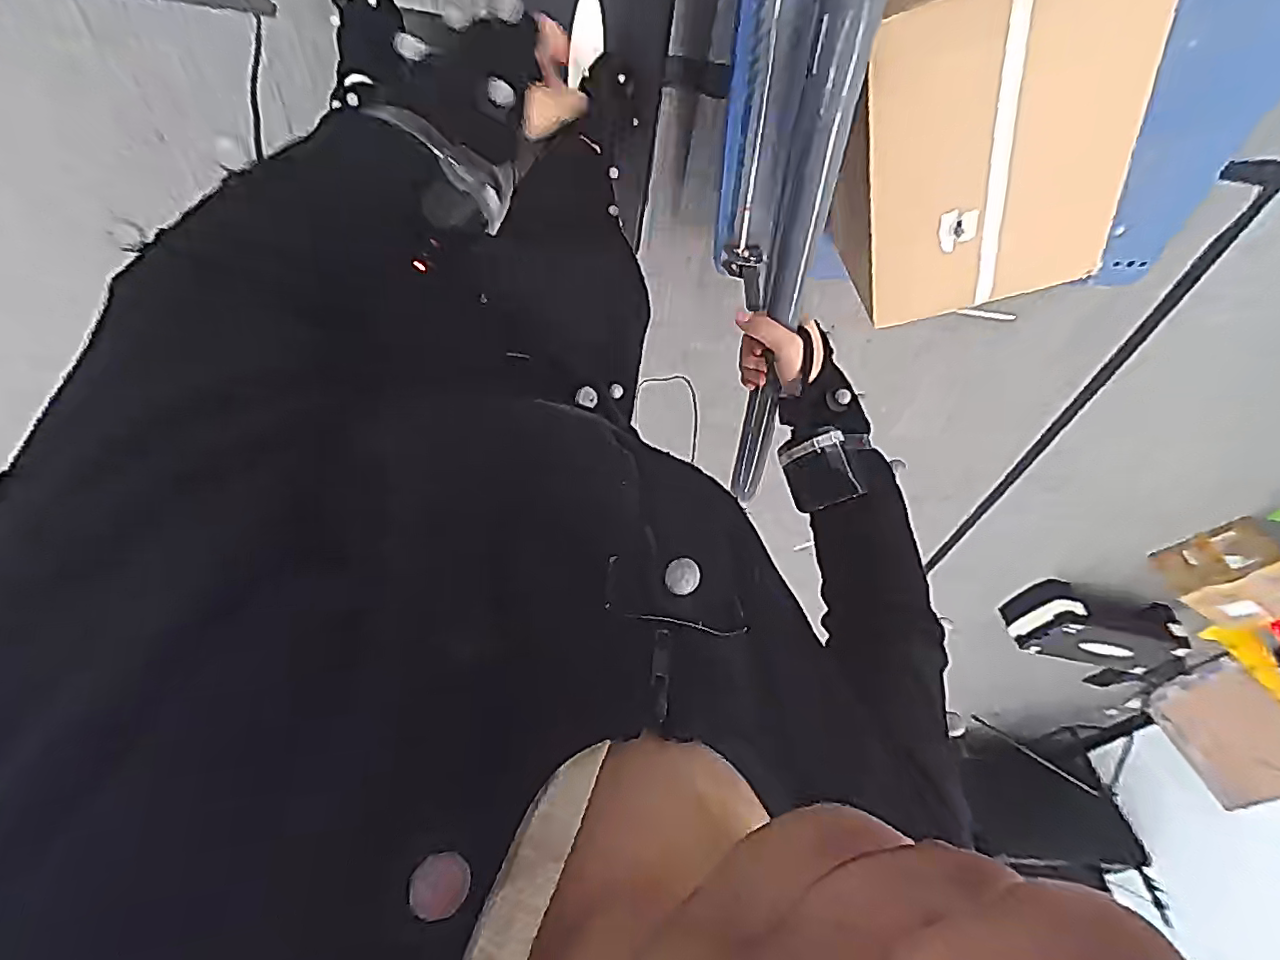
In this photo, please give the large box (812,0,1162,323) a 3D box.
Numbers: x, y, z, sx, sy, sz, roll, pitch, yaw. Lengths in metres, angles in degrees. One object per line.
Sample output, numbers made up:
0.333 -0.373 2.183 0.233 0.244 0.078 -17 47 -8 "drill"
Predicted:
0.459 -0.521 0.803 0.320 0.320 0.408 -11 137 15 "large box"
